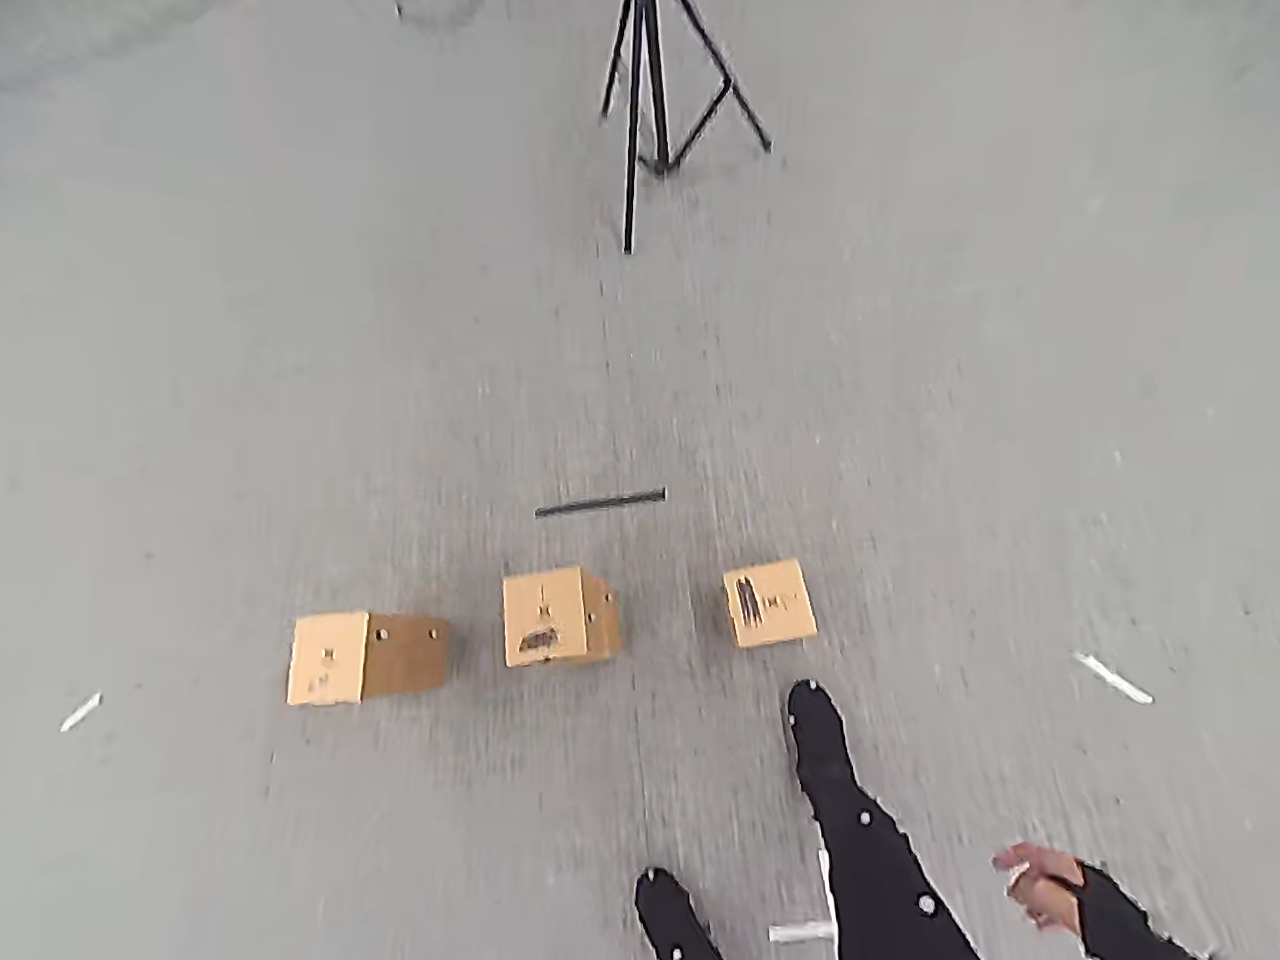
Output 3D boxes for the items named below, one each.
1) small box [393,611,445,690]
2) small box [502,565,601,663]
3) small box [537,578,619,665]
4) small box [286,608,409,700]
[{"bbox_3d":[-0.600,0.426,1.340,0.168,0.176,0.179,-5,71,7],"label":"small box"},{"bbox_3d":[-0.184,0.290,1.155,0.168,0.176,0.179,-9,70,4],"label":"small box"},{"bbox_3d":[-0.152,0.345,1.307,0.168,0.176,0.179,-10,70,4],"label":"small box"},{"bbox_3d":[-0.628,0.381,1.184,0.168,0.176,0.179,-6,72,7],"label":"small box"}]
